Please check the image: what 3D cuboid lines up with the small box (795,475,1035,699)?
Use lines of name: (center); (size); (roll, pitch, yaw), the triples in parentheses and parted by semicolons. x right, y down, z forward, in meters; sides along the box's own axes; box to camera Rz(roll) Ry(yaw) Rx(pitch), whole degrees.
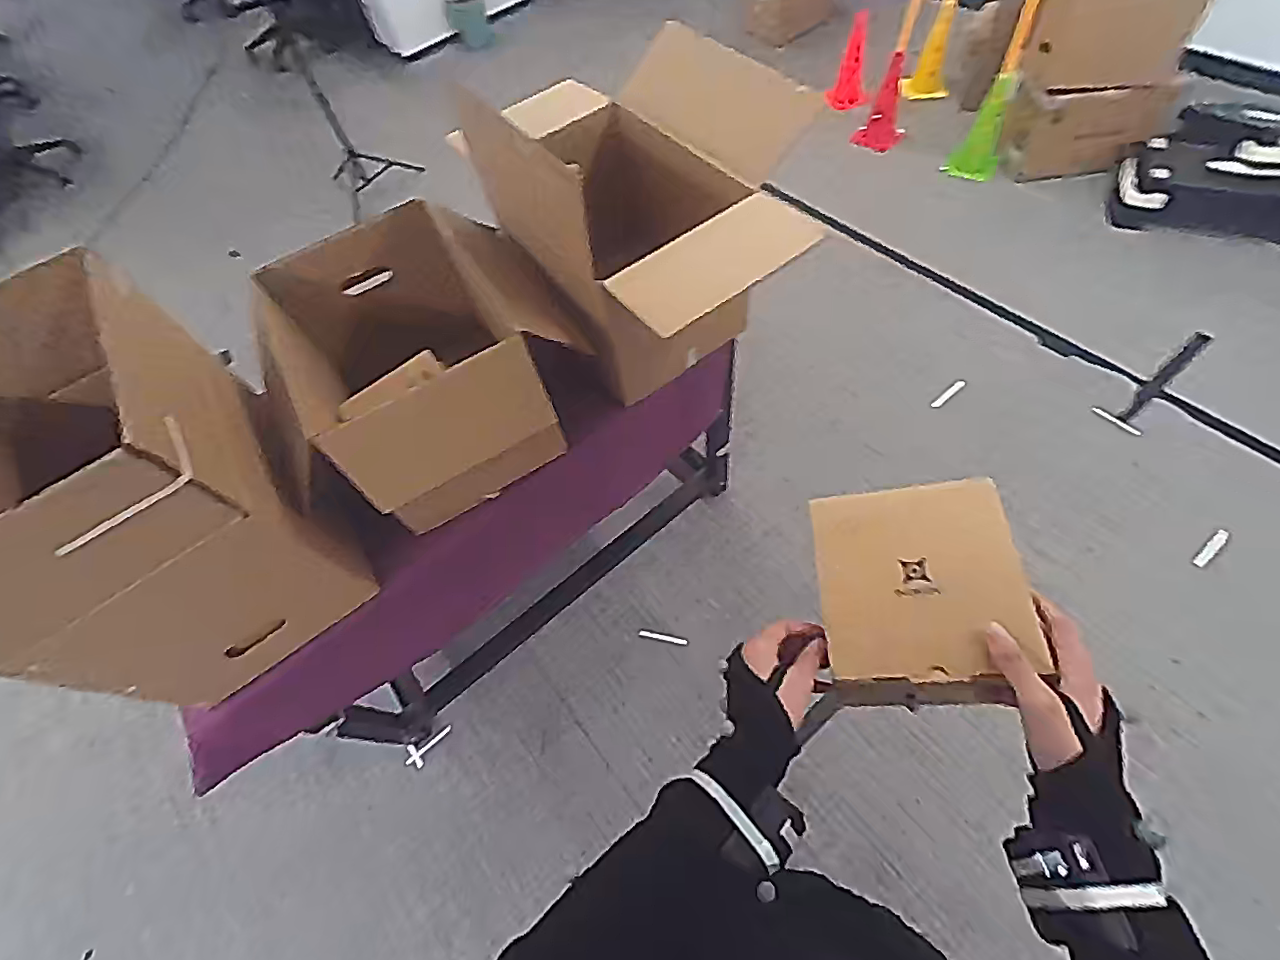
small box: (0.258, 0.119, 0.552); (0.168, 0.176, 0.179); (-10, 61, 17)
